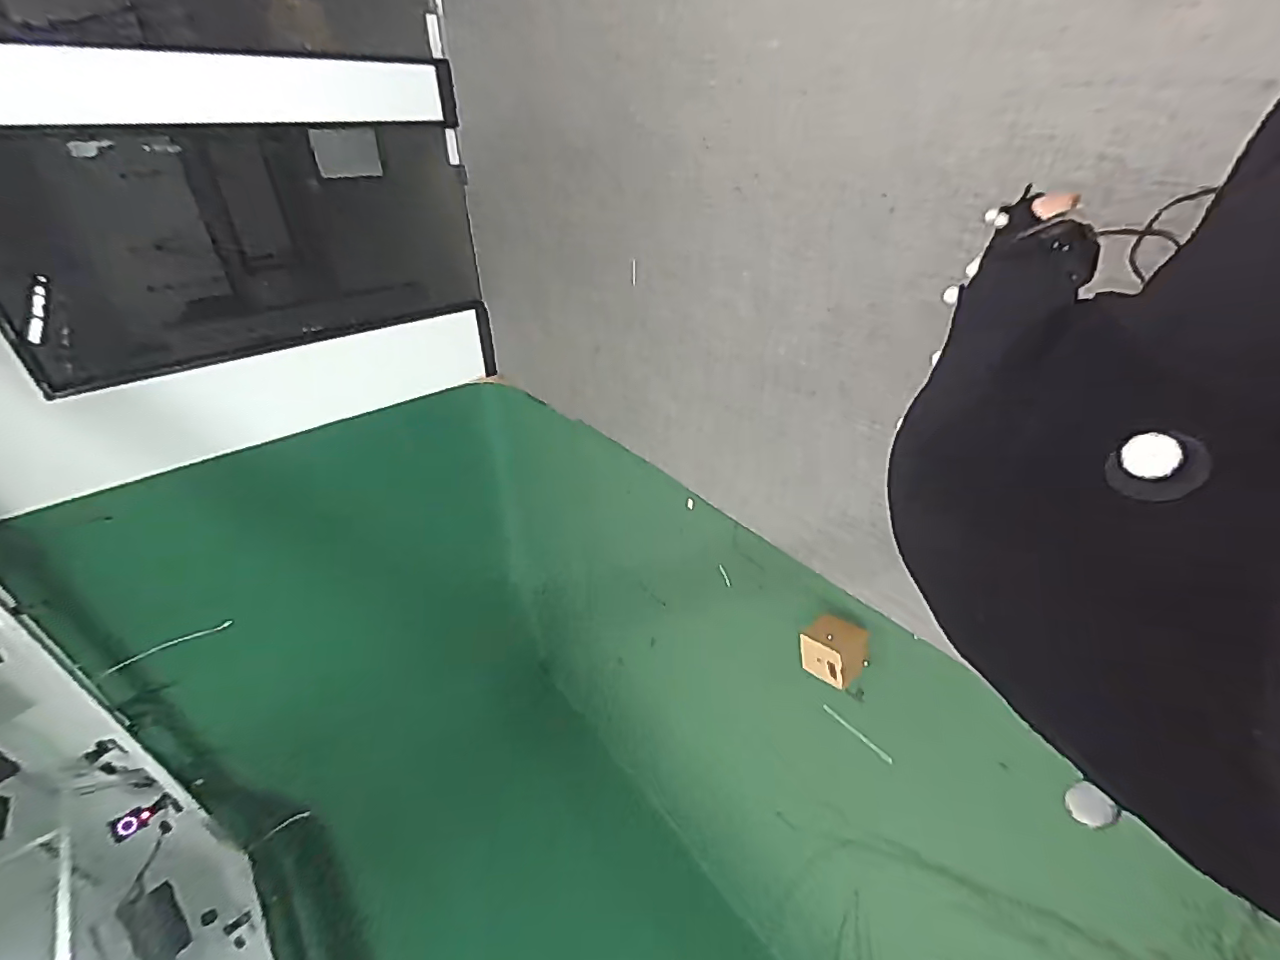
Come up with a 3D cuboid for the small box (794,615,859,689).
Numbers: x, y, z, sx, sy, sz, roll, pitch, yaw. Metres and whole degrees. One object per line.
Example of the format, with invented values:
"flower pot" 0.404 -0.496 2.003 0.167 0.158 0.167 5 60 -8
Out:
"small box" 0.703 0.635 2.022 0.179 0.176 0.168 18 125 49
